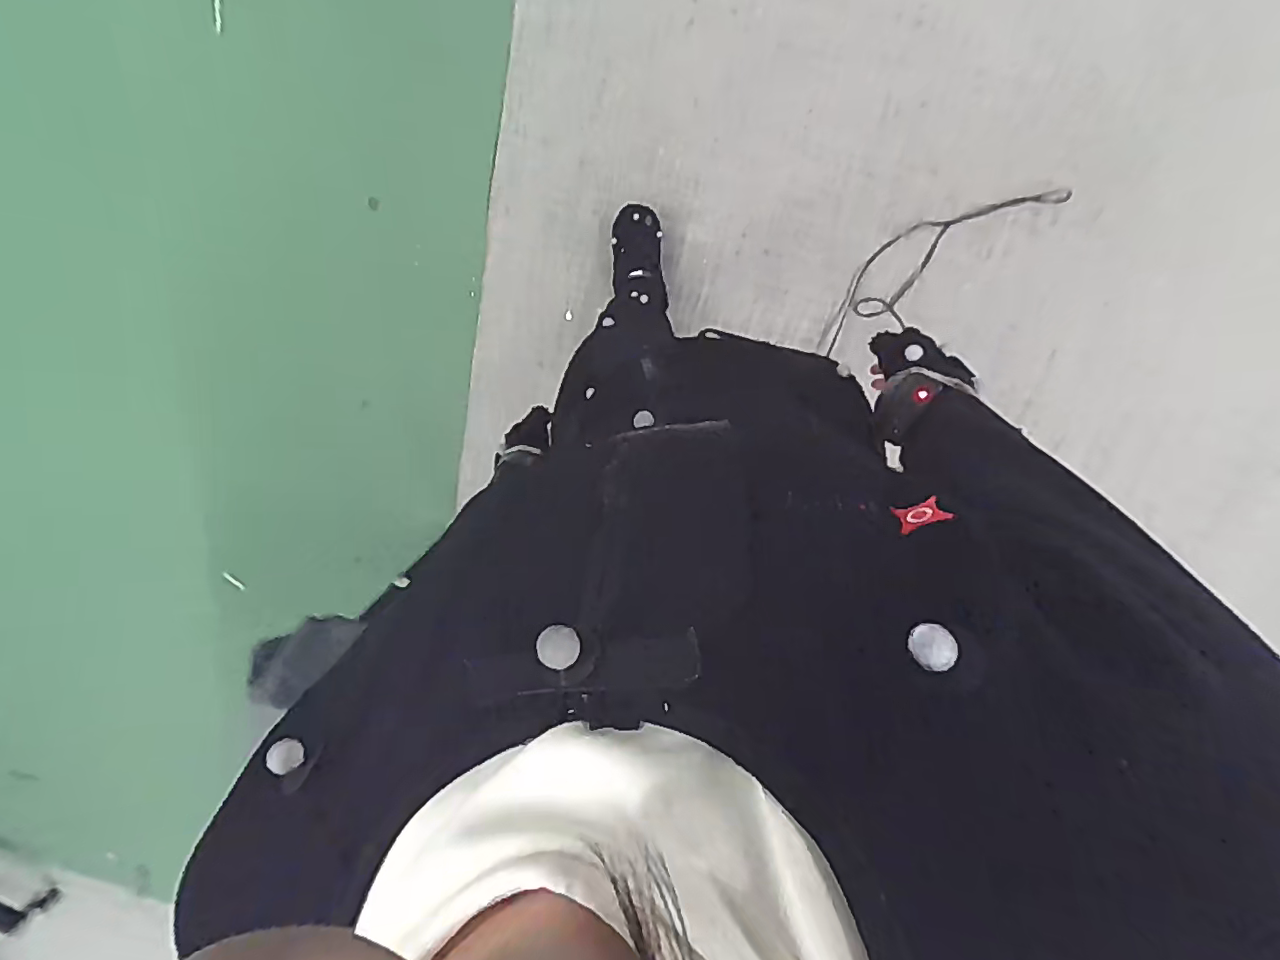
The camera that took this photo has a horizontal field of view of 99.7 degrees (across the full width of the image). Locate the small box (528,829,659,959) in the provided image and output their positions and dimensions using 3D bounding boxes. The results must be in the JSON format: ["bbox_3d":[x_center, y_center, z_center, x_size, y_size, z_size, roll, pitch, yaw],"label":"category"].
[{"bbox_3d":[-0.074,0.700,0.864,0.179,0.176,0.168,12,112,1],"label":"small box"}]
